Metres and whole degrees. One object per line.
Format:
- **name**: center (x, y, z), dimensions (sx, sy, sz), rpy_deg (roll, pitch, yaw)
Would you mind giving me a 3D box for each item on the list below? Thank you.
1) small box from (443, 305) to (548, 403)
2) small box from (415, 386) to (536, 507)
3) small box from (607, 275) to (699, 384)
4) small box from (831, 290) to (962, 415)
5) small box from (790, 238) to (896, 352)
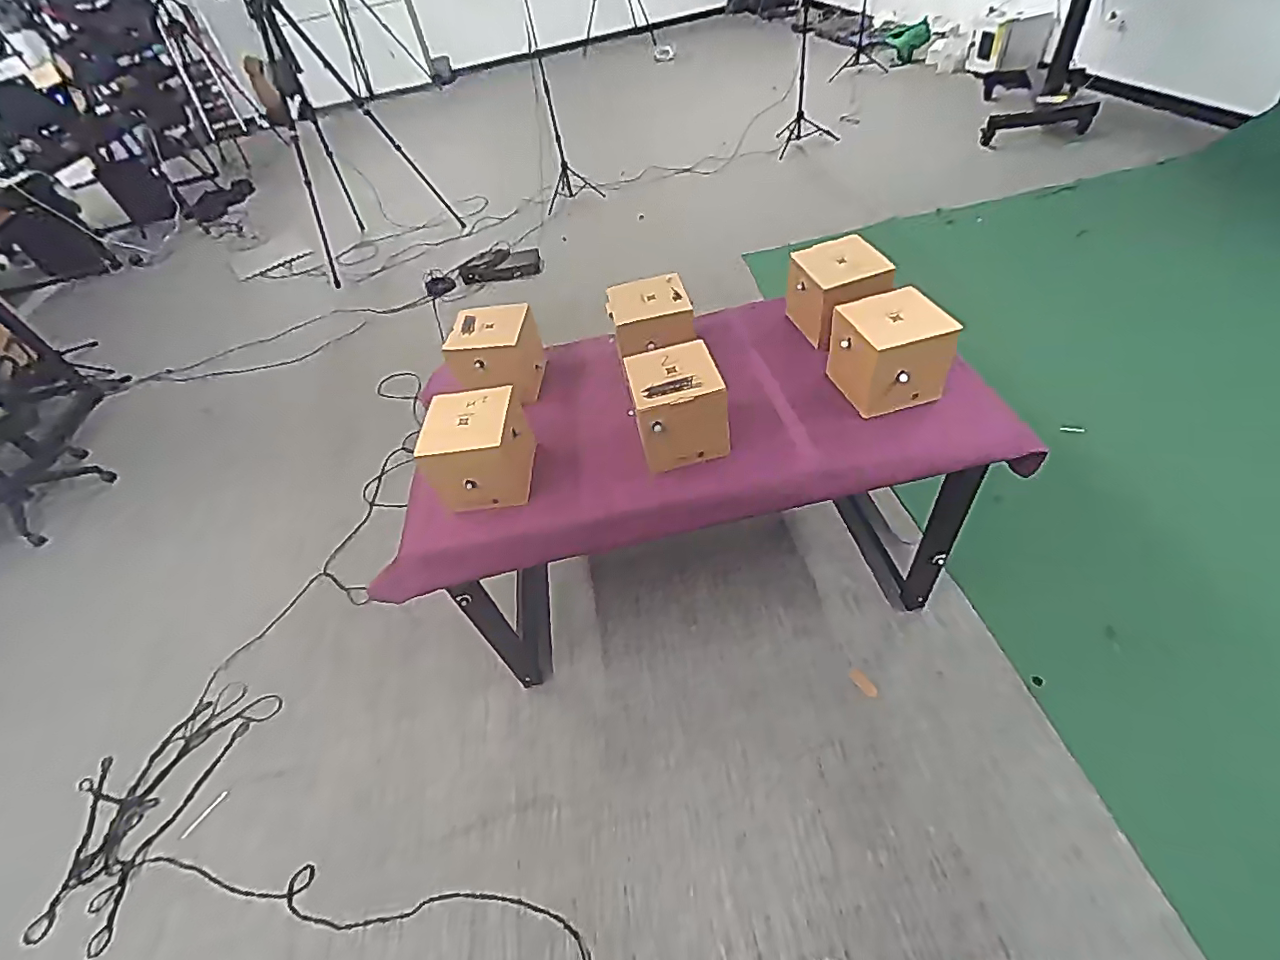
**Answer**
- **small box**: center (-0.334, -0.295, 1.290), dimensions (0.179, 0.176, 0.168), rpy_deg (-2, 49, 7)
- **small box**: center (-0.314, -0.059, 1.075), dimensions (0.168, 0.176, 0.179), rpy_deg (-6, 48, 5)
- **small box**: center (0.032, -0.349, 1.269), dimensions (0.179, 0.176, 0.168), rpy_deg (-13, 49, 0)
- **small box**: center (0.501, -0.249, 1.086), dimensions (0.168, 0.176, 0.179), rpy_deg (-15, 45, -2)
- **small box**: center (0.458, -0.427, 1.255), dimensions (0.168, 0.176, 0.179), rpy_deg (-17, 49, -2)
